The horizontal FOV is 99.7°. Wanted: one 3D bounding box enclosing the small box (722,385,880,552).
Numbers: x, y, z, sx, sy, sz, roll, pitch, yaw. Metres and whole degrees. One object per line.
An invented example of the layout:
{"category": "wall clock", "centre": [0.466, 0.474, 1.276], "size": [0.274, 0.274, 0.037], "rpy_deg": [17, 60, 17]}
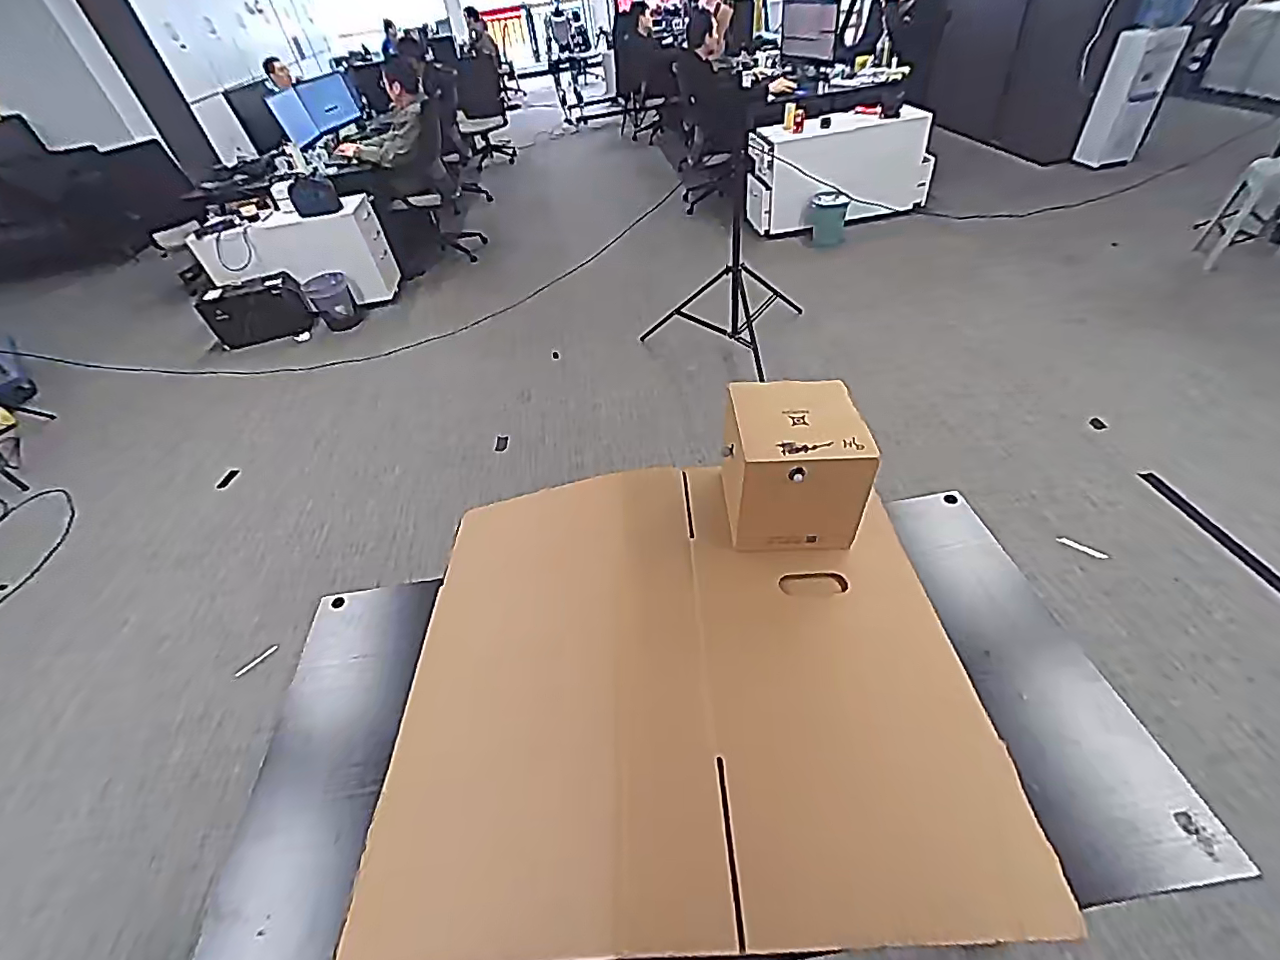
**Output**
{"category": "small box", "centre": [0.210, -0.017, 0.764], "size": [0.168, 0.176, 0.179], "rpy_deg": [-2, 41, 2]}
